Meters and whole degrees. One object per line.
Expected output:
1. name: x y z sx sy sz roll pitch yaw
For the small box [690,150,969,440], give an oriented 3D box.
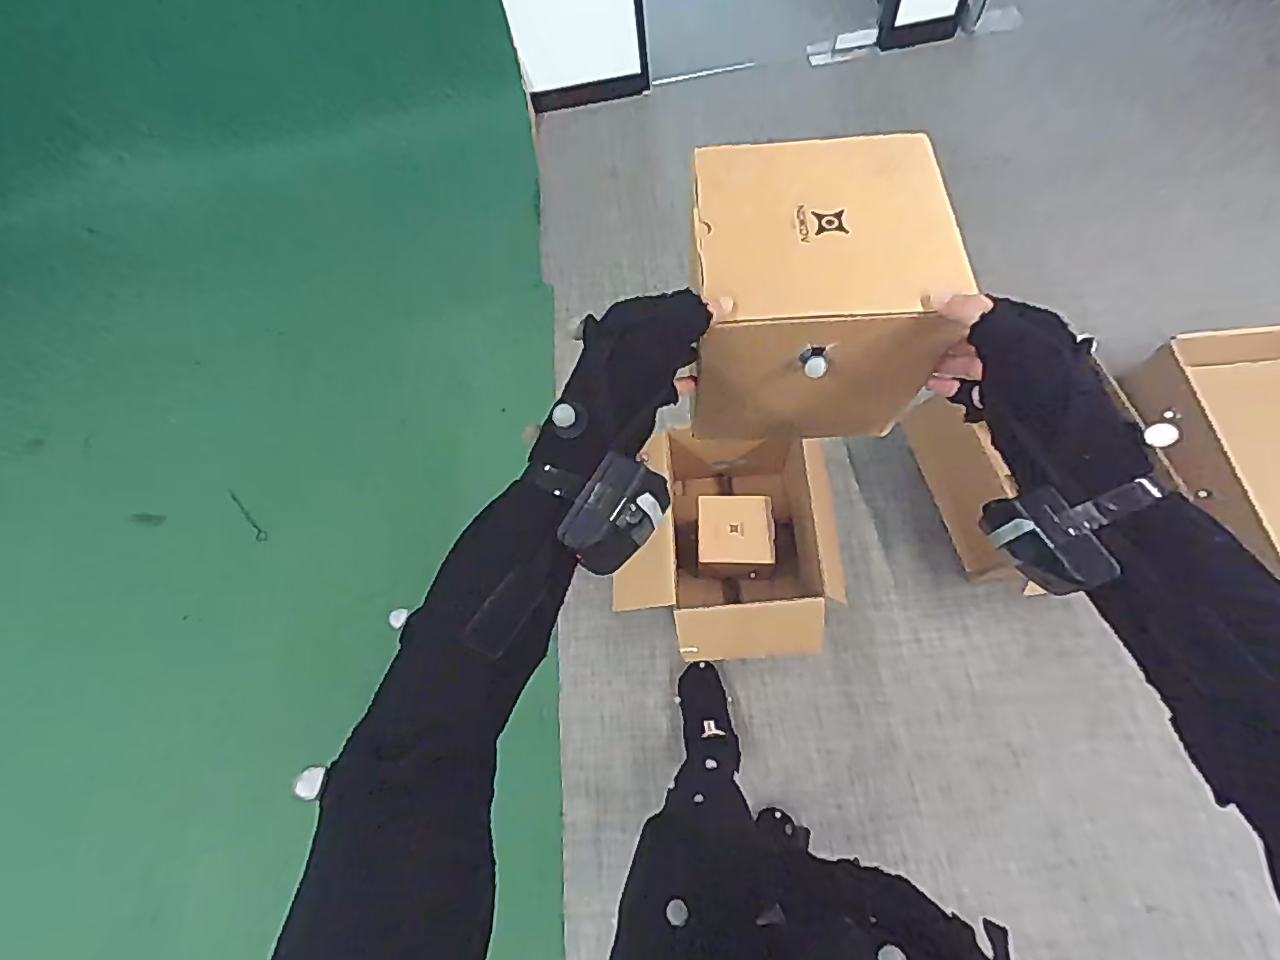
1. small box: 0.135 -0.145 0.463 0.179 0.176 0.168 -2 66 4
